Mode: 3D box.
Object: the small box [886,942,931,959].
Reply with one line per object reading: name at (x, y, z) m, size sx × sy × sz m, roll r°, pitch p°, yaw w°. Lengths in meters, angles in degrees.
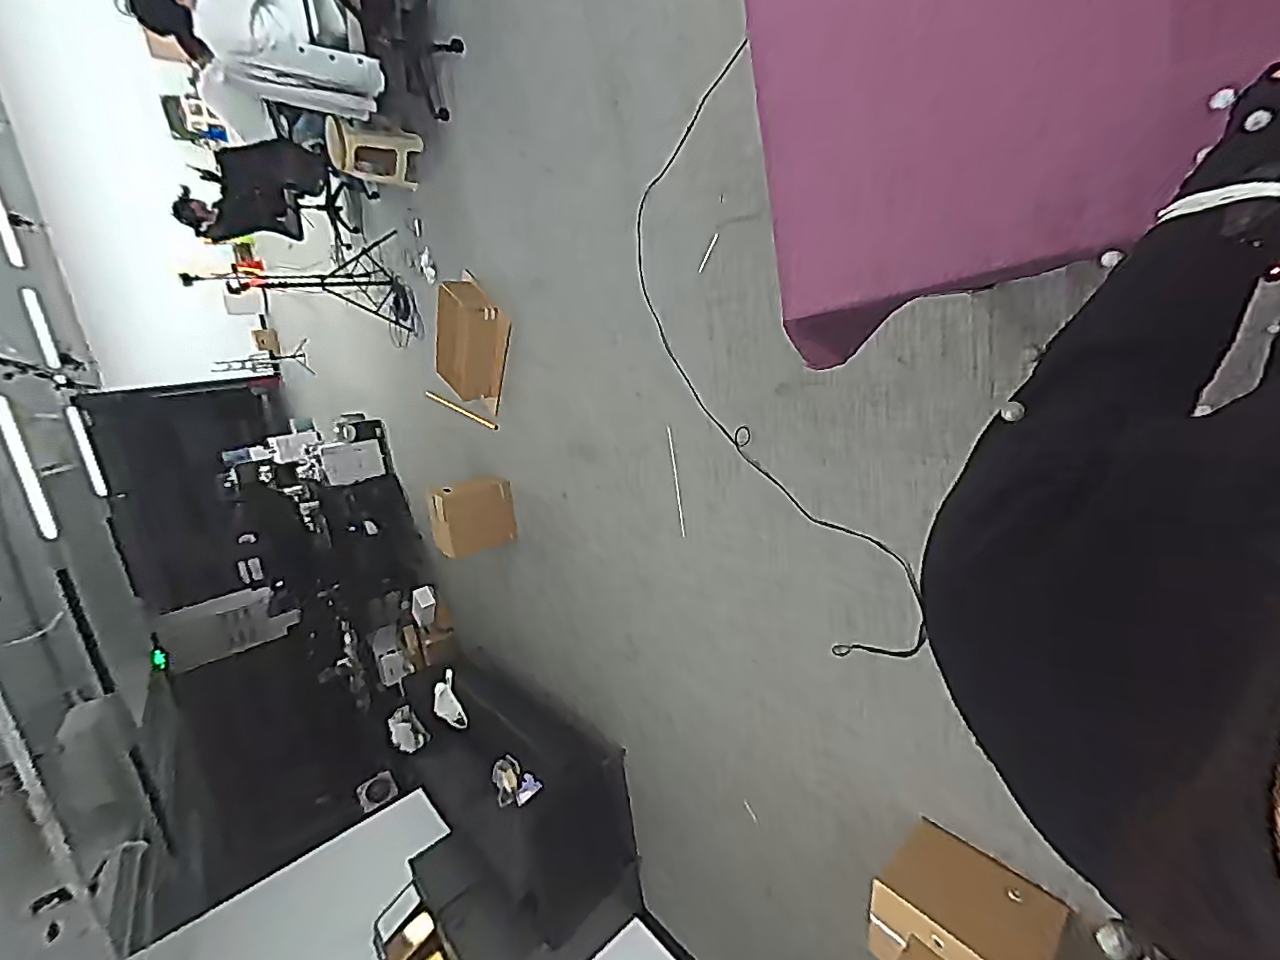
small box at (0.747, 1.417, 1.469) m, size 0.179 × 0.176 × 0.168 m, roll 20°, pitch 121°, yaw 46°
